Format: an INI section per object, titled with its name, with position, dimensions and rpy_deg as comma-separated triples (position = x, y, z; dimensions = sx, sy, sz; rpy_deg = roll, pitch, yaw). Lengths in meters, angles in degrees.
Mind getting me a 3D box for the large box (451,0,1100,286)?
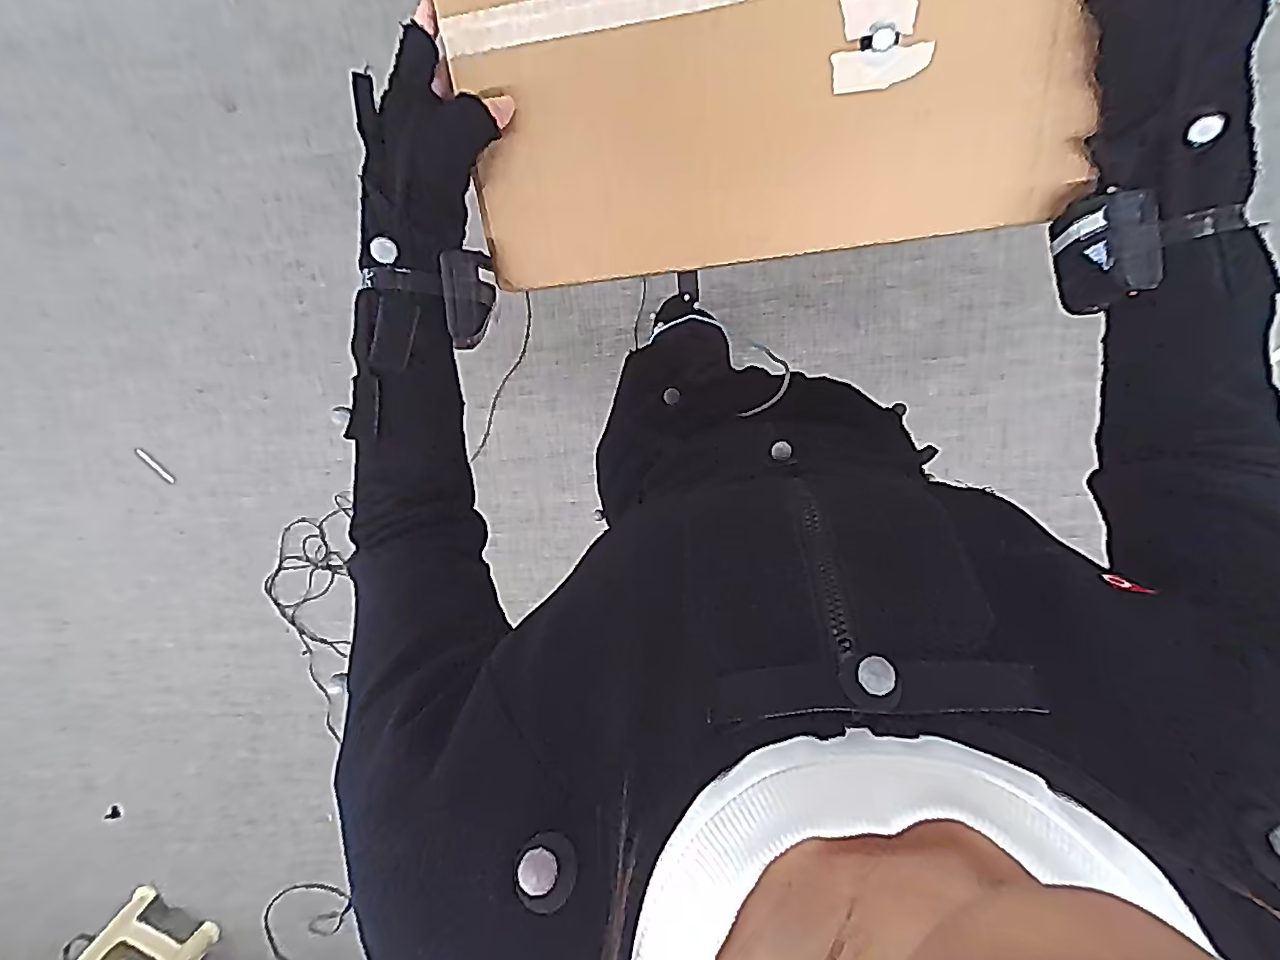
[large box]
position = 0.087, -0.365, 0.472
dimensions = 0.408, 0.320, 0.320
rpy_deg = -5, 113, 8
